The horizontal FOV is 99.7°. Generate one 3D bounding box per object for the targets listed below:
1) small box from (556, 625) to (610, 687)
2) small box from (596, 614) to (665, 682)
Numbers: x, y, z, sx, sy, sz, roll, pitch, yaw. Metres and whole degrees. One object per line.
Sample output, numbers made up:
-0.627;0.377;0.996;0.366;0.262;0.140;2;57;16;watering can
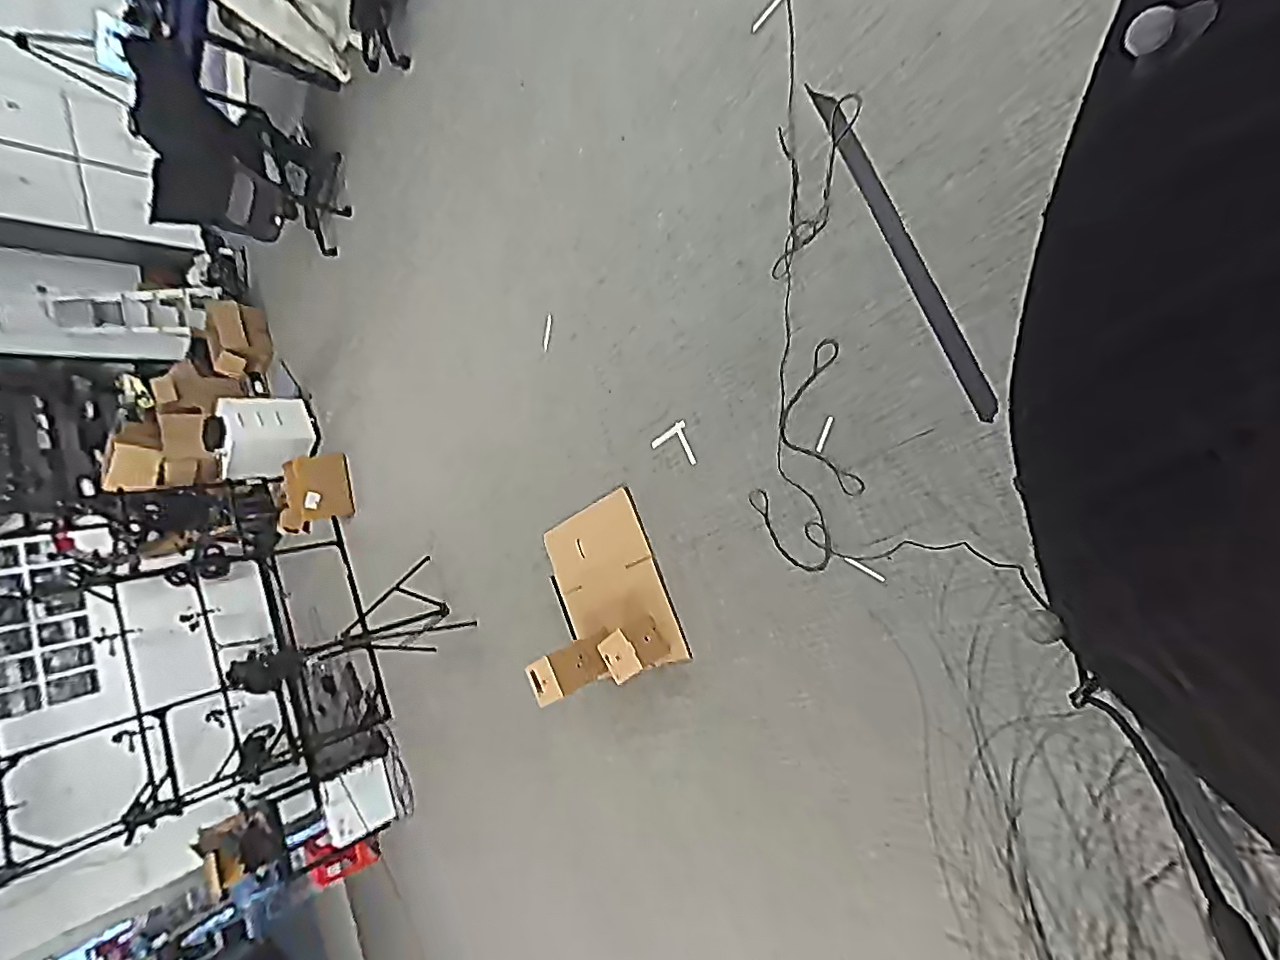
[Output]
-0.213;0.727;2.239;0.179;0.176;0.168;-42;69;38;small box
-0.027;0.633;2.051;0.179;0.176;0.168;-46;66;36;small box
